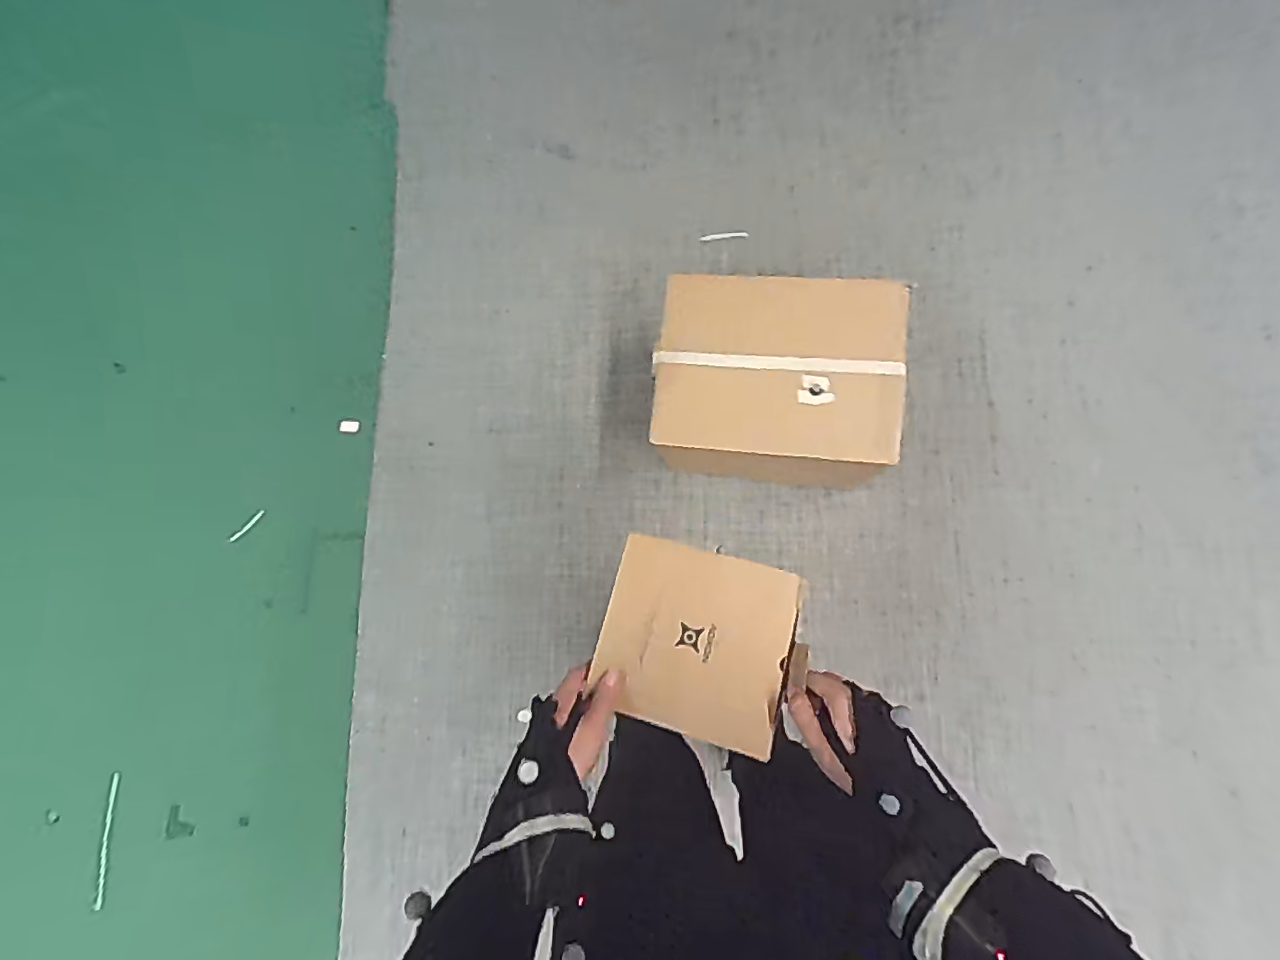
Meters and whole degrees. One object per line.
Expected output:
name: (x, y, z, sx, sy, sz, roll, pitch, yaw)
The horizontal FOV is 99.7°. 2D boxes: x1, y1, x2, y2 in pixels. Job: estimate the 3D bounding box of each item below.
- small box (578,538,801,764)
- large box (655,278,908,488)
small box: (0.058, 0.172, 0.570, 0.179, 0.176, 0.168, 11, 75, 13)
large box: (0.255, -0.170, 1.054, 0.408, 0.320, 0.320, 6, 83, 10)
